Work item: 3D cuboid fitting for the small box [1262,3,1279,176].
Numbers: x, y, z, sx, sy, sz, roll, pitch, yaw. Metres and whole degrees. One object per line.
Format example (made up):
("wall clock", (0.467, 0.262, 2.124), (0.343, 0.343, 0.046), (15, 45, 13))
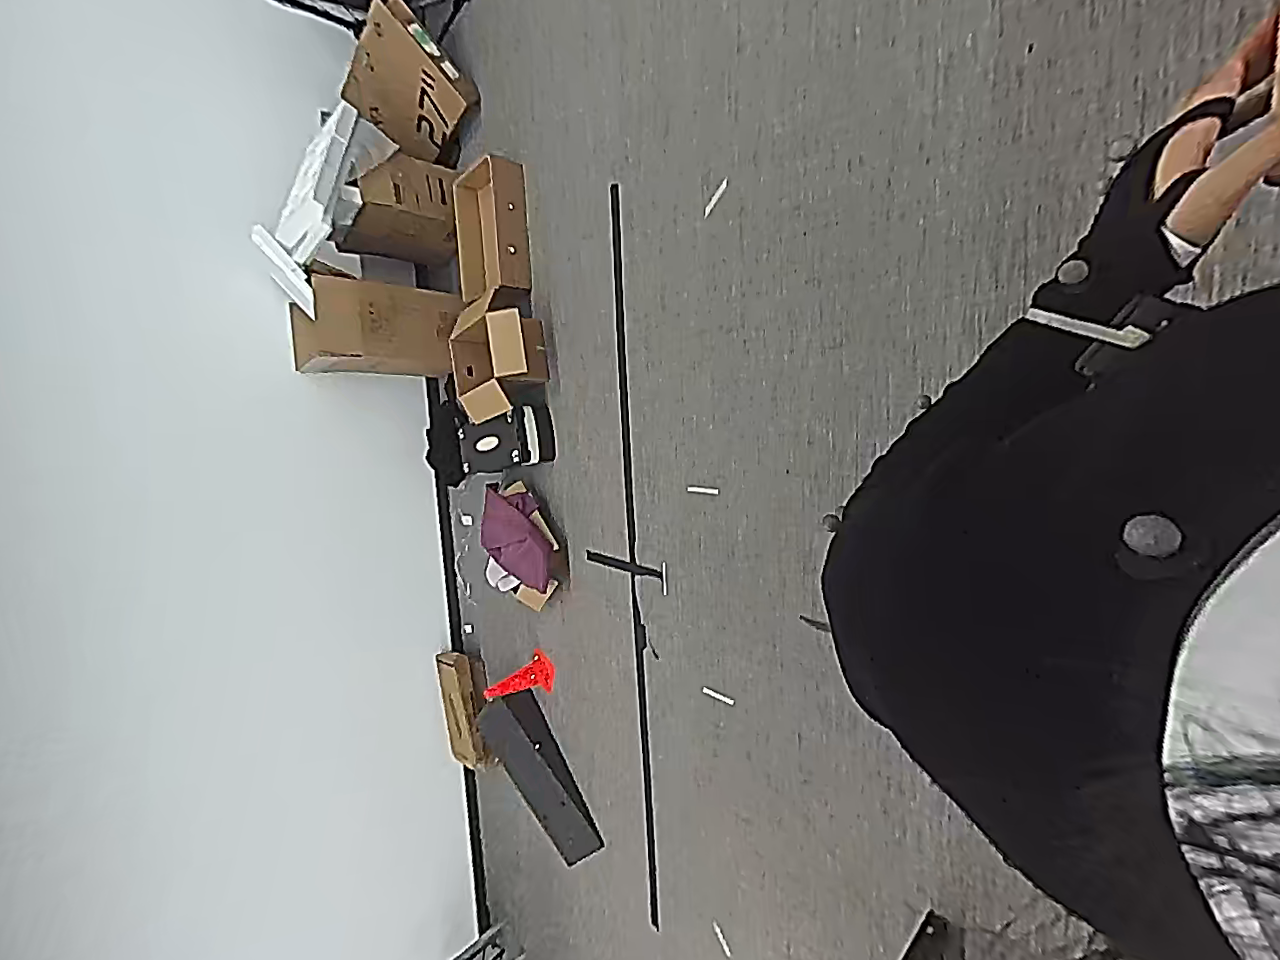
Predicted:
("small box", (0.462, -0.277, 0.275), (0.168, 0.176, 0.179), (9, 114, 52))
